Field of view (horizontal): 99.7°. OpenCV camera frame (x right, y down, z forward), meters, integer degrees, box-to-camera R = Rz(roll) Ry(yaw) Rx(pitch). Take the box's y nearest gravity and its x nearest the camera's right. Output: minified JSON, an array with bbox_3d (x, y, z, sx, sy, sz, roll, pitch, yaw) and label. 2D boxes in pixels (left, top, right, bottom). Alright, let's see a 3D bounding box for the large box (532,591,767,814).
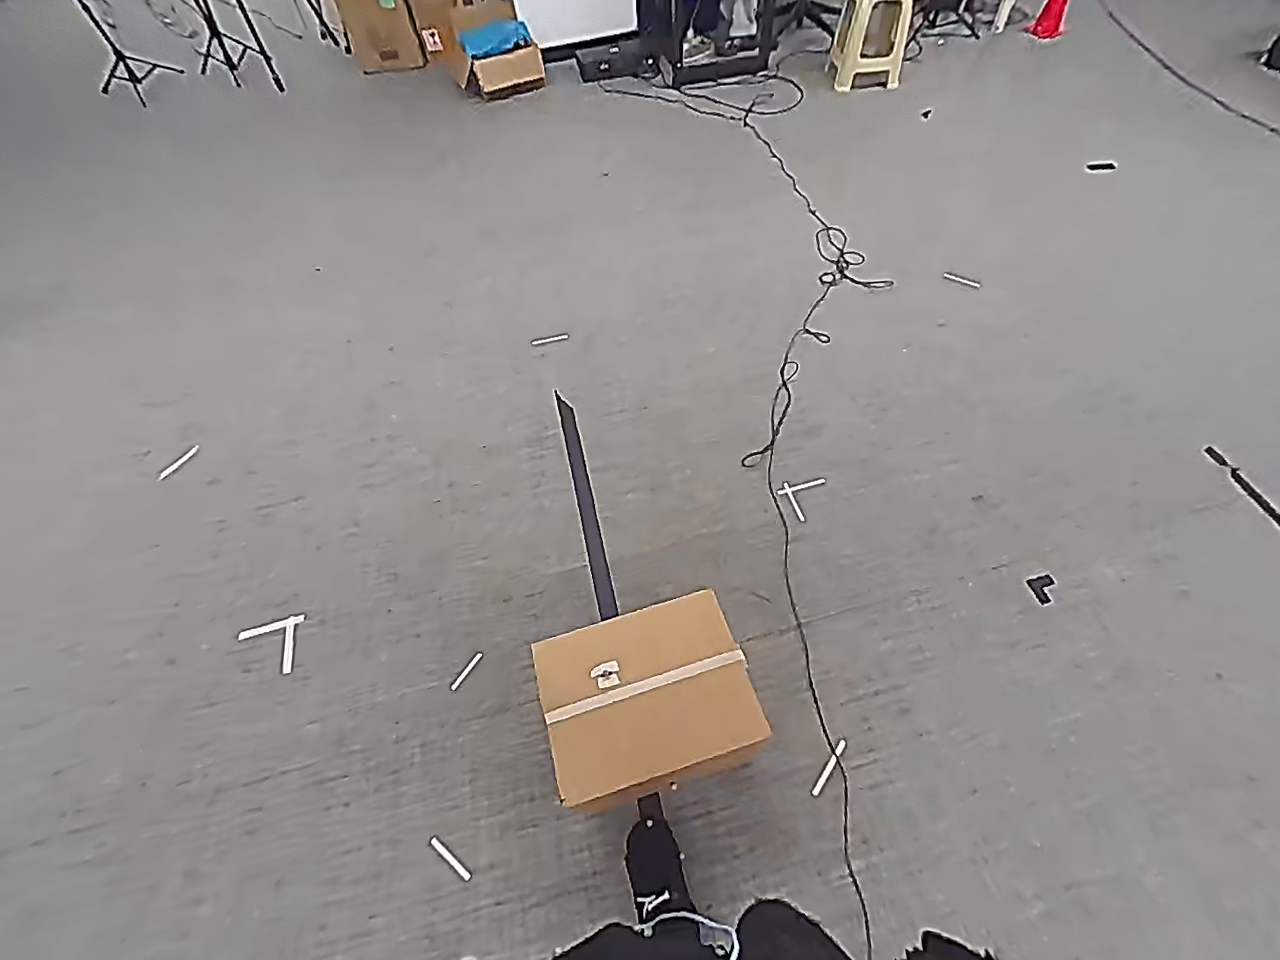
[{"bbox_3d":[0.018,0.494,1.185,0.408,0.320,0.320,-17,56,-5],"label":"large box"}]
